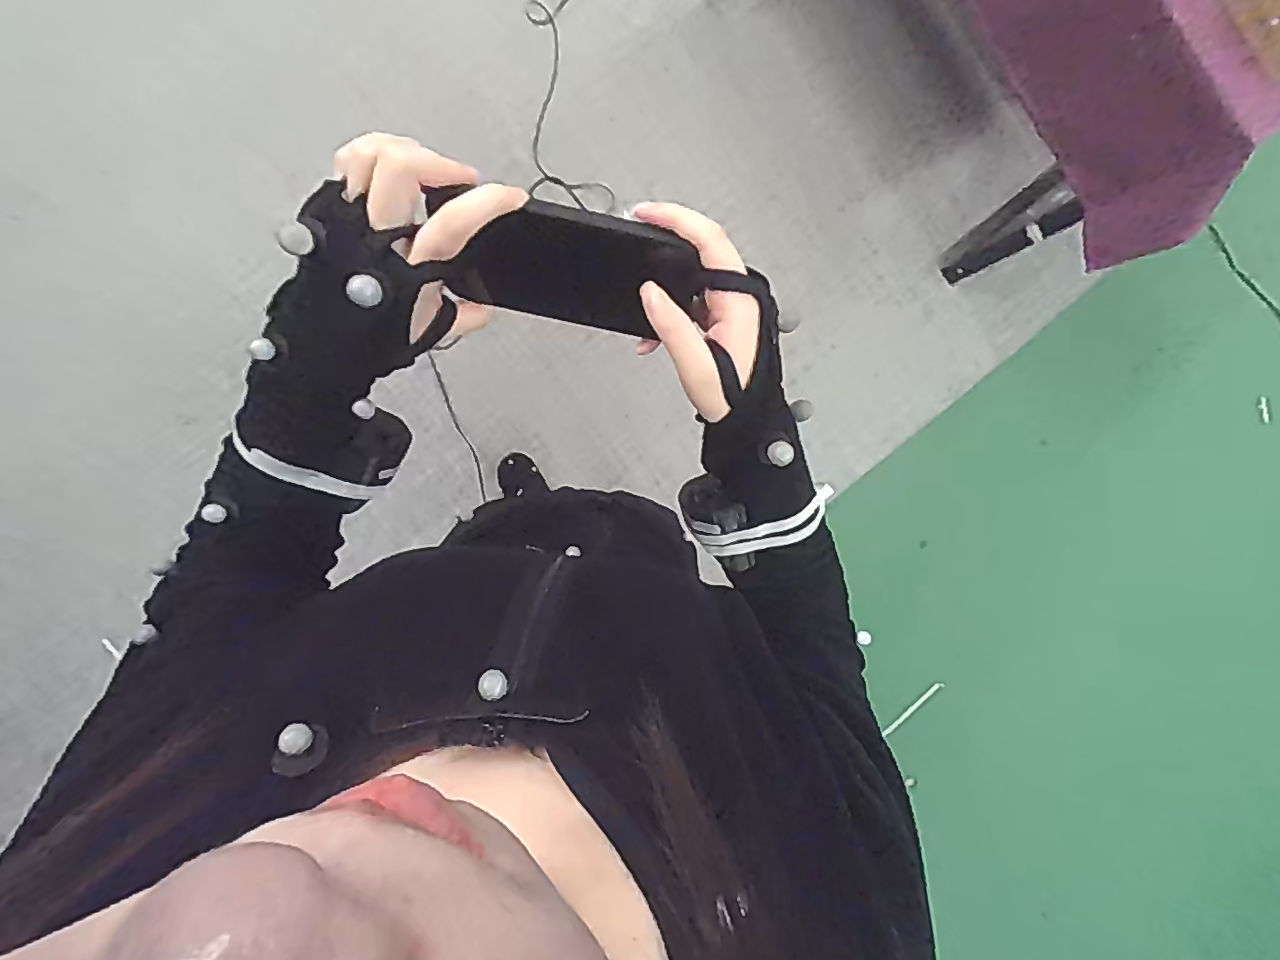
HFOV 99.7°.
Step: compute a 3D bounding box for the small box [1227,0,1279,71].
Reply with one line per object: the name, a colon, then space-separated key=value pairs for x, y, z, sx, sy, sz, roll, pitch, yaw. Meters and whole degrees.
small box: x=1.058 y=-0.759 z=0.802 sx=0.168 sy=0.176 sz=0.179 roll=-39 pitch=96 yaw=-5
